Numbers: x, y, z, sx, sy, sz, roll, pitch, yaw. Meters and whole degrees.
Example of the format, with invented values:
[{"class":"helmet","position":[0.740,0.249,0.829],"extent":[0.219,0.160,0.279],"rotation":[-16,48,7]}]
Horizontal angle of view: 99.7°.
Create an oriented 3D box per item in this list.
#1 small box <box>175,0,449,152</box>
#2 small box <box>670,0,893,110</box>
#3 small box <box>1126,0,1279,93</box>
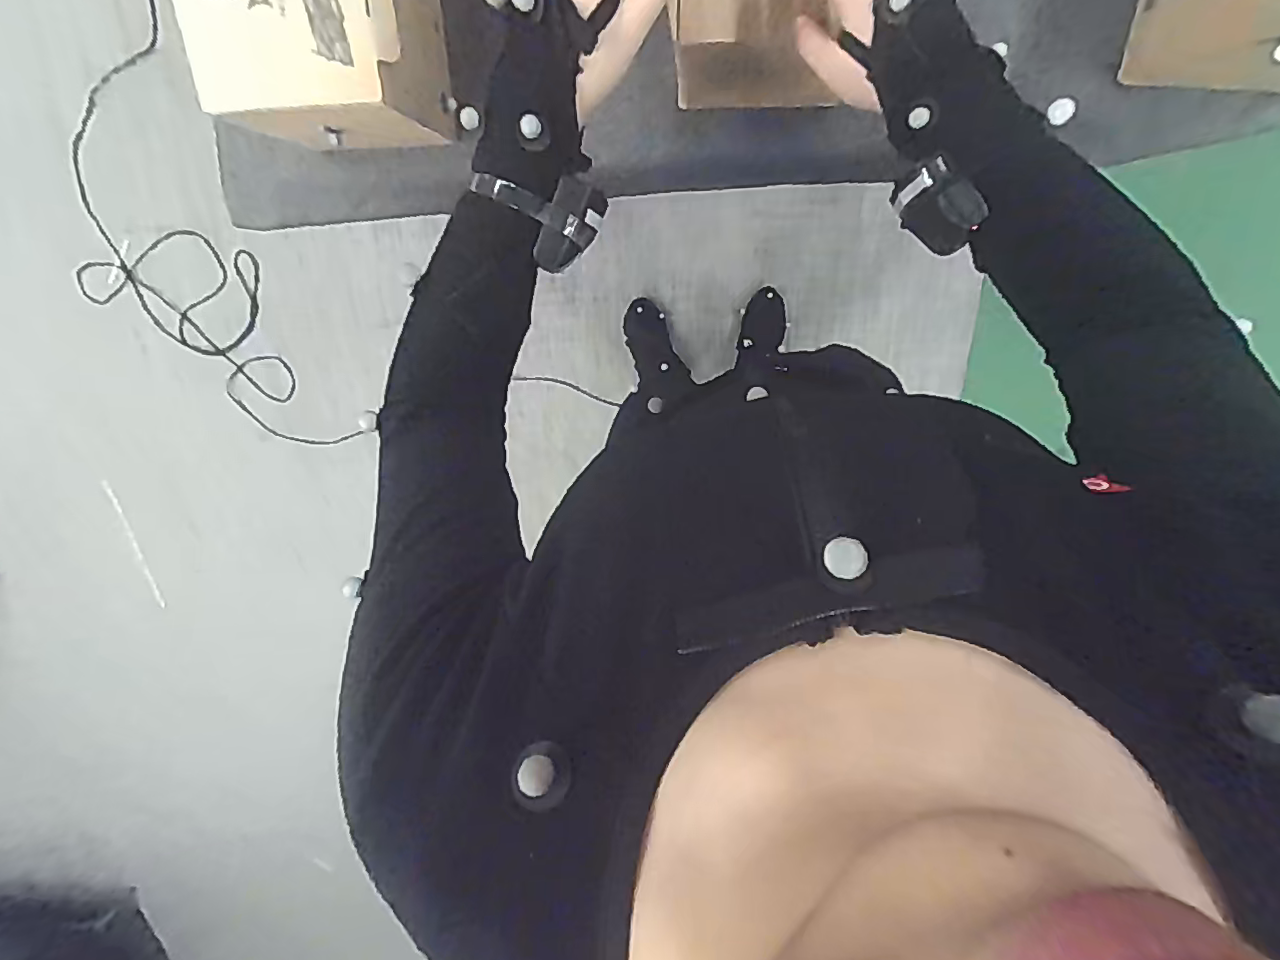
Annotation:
[{"class":"small box","position":[-0.304,-0.433,0.531],"extent":[0.179,0.176,0.168],"rotation":[0,111,5]},{"class":"small box","position":[0.120,-0.454,0.488],"extent":[0.179,0.176,0.168],"rotation":[2,110,5]},{"class":"small box","position":[0.568,-0.446,0.445],"extent":[0.179,0.176,0.168],"rotation":[5,107,4]}]
